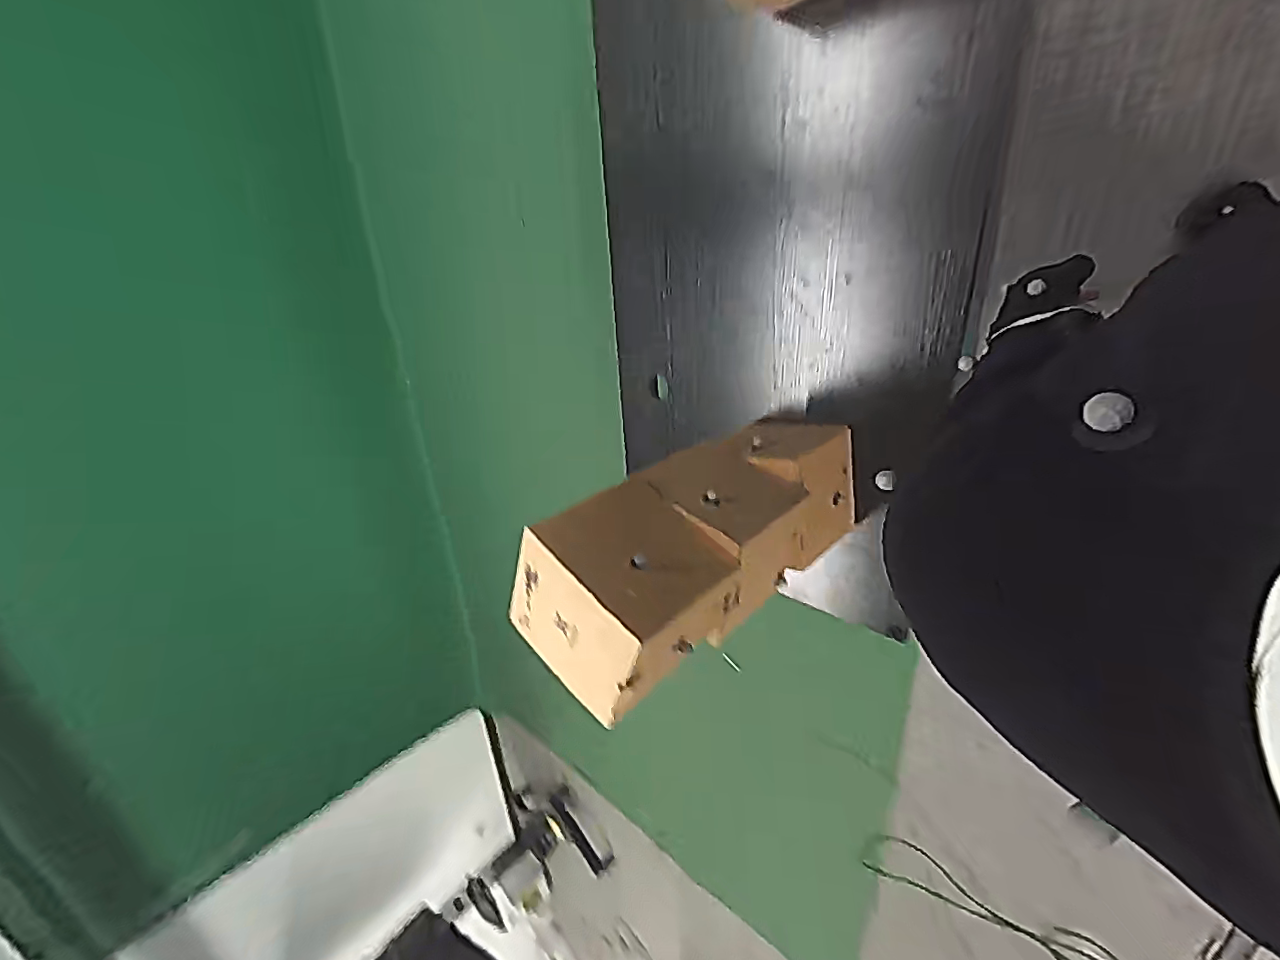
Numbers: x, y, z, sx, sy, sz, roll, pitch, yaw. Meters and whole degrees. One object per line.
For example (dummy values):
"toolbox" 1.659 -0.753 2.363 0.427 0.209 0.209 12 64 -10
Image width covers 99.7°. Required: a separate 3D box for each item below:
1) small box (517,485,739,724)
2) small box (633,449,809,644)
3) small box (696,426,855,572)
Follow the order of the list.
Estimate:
"small box" -0.015 0.131 0.625 0.179 0.176 0.168 38 132 24
"small box" 0.101 0.076 0.729 0.179 0.176 0.168 30 128 32
"small box" 0.211 0.018 0.836 0.179 0.176 0.168 7 114 43
